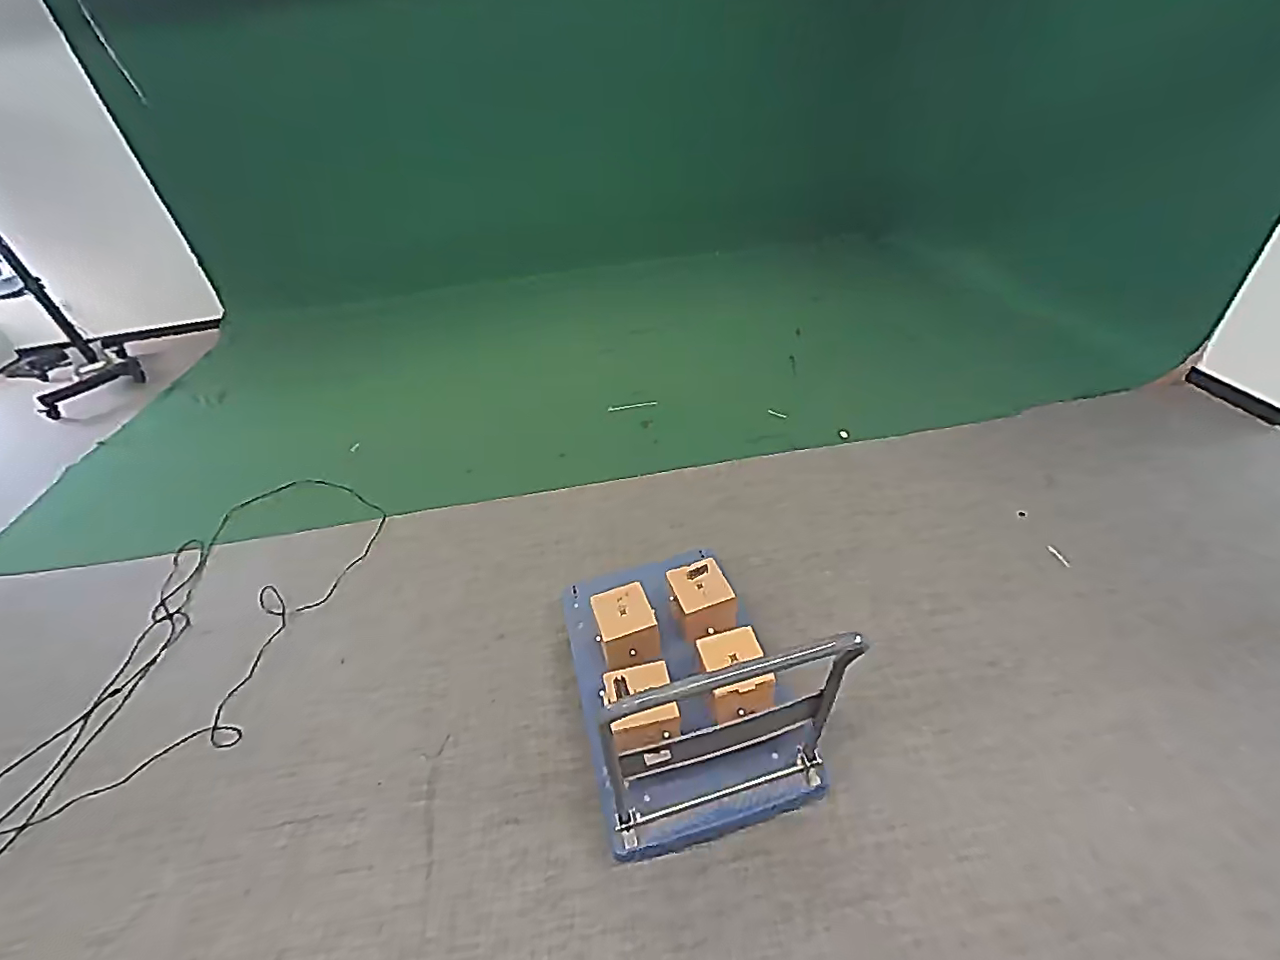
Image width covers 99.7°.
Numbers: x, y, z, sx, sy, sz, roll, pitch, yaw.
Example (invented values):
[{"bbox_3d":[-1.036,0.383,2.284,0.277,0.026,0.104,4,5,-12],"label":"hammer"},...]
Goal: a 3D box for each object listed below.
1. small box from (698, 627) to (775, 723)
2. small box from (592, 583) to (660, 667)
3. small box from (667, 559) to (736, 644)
[{"bbox_3d":[0.266,0.553,1.532,0.168,0.176,0.179,-13,40,-8],"label":"small box"},{"bbox_3d":[-0.042,0.460,1.688,0.168,0.176,0.179,-15,40,-11],"label":"small box"},{"bbox_3d":[0.195,0.390,1.736,0.168,0.176,0.179,-17,41,-10],"label":"small box"}]
